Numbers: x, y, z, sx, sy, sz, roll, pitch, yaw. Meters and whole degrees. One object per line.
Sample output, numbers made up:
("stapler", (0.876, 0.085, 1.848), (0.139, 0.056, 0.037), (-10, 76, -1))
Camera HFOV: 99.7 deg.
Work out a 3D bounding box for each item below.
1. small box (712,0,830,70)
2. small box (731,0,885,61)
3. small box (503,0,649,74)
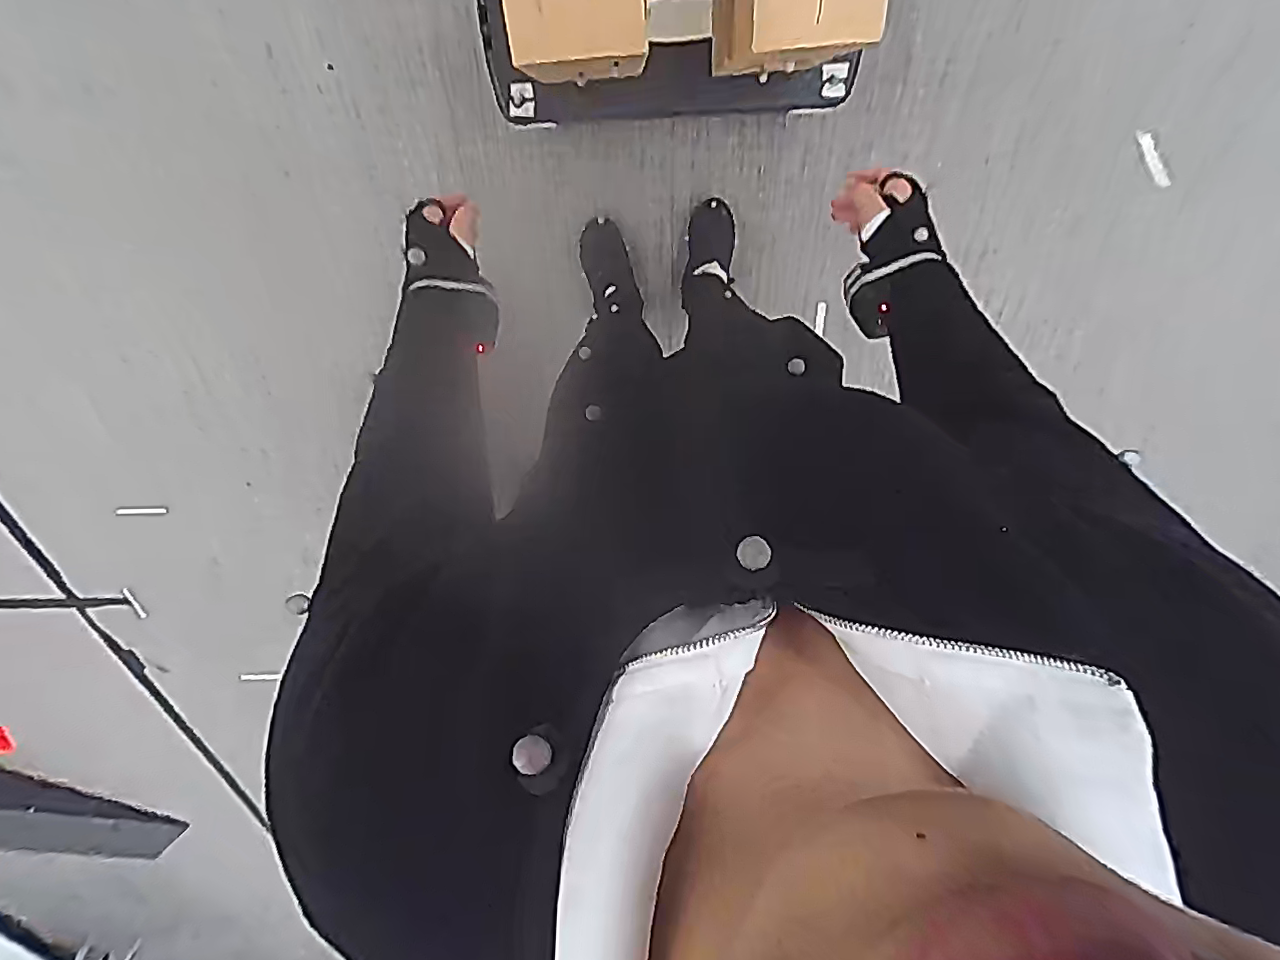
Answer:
("small box", (0.202, -0.755, 0.842), (0.168, 0.176, 0.179), (-3, 124, 1))
("small box", (0.214, -0.668, 0.703), (0.168, 0.176, 0.179), (-4, 124, 1))
("small box", (-0.084, -0.648, 0.709), (0.179, 0.176, 0.168), (-5, 123, 2))
